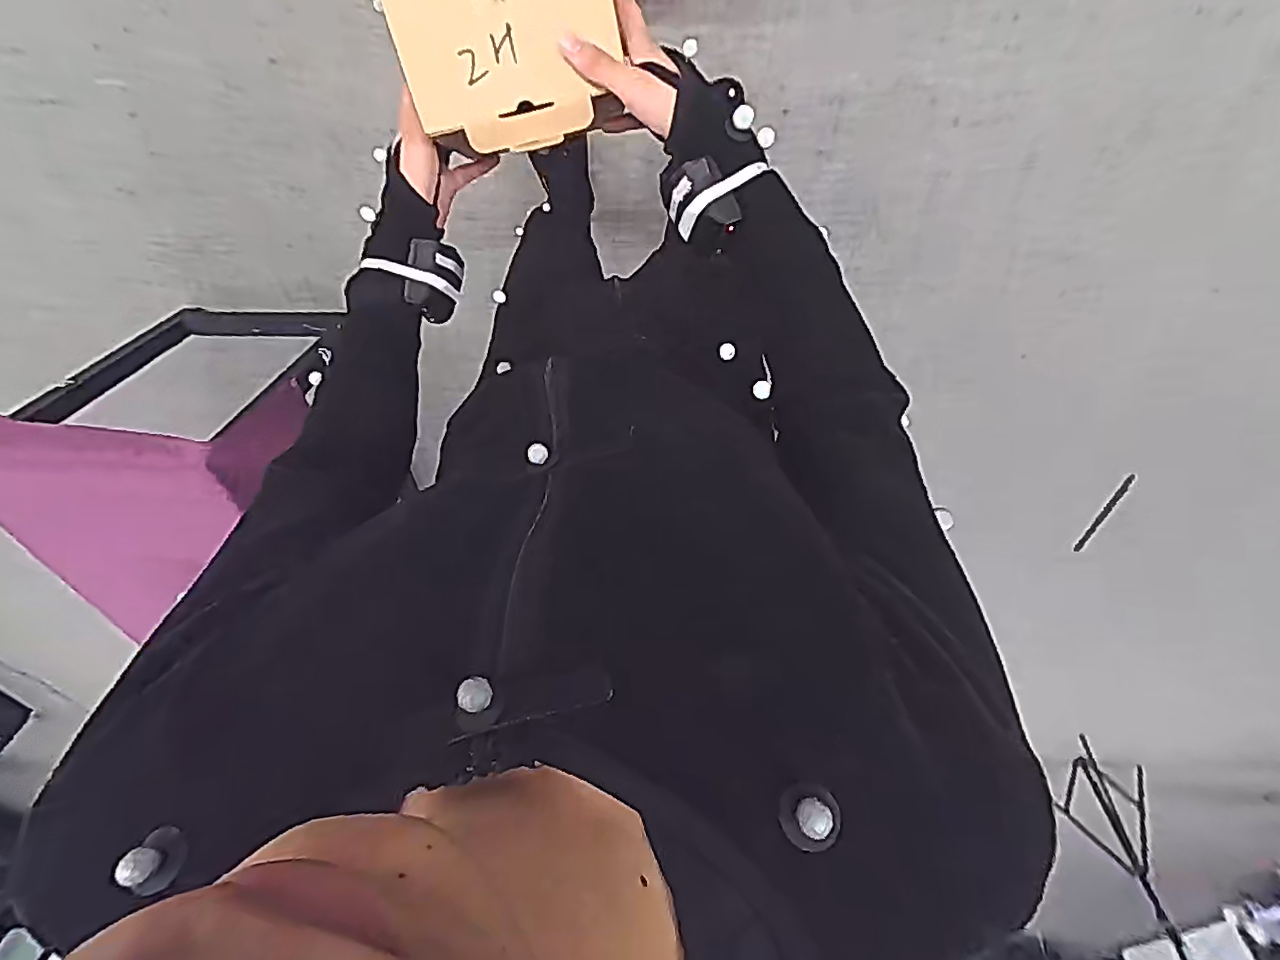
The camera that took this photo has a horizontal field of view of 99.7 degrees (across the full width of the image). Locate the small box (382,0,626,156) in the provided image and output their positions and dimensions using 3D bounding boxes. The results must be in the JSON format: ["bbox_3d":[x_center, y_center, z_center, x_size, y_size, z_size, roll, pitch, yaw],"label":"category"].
[{"bbox_3d":[-0.112,-0.396,0.454,0.168,0.176,0.179,-12,116,2],"label":"small box"}]
